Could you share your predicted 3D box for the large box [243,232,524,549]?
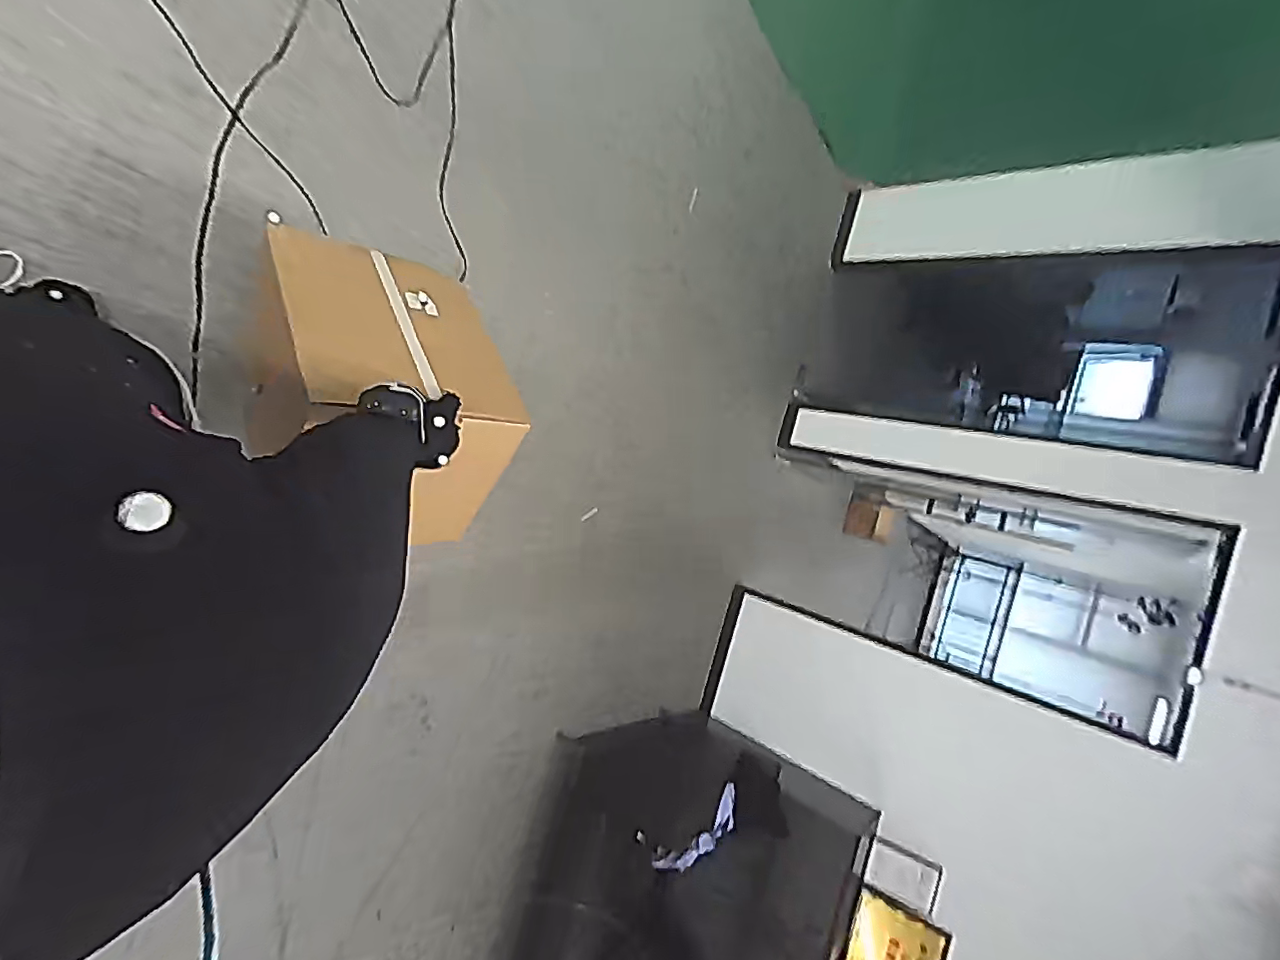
[{"bbox_3d":[-0.459,-0.139,0.931,0.320,0.408,0.320,1,138,-45],"label":"large box"}]
